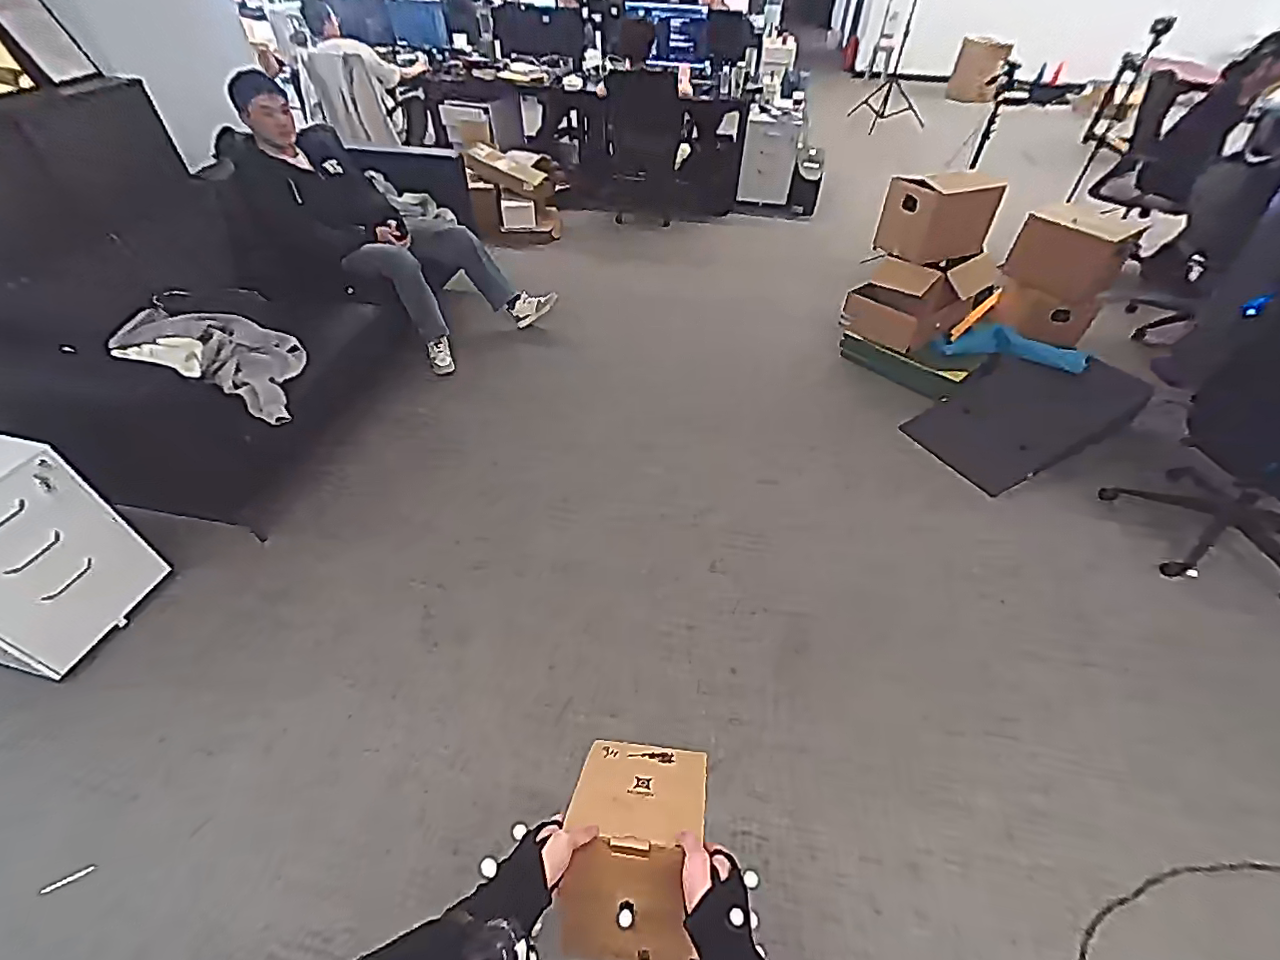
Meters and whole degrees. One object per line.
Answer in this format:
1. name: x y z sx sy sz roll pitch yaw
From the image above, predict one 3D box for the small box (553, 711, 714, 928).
1. small box: -0.014 0.447 0.730 0.179 0.176 0.168 -2 9 -21
